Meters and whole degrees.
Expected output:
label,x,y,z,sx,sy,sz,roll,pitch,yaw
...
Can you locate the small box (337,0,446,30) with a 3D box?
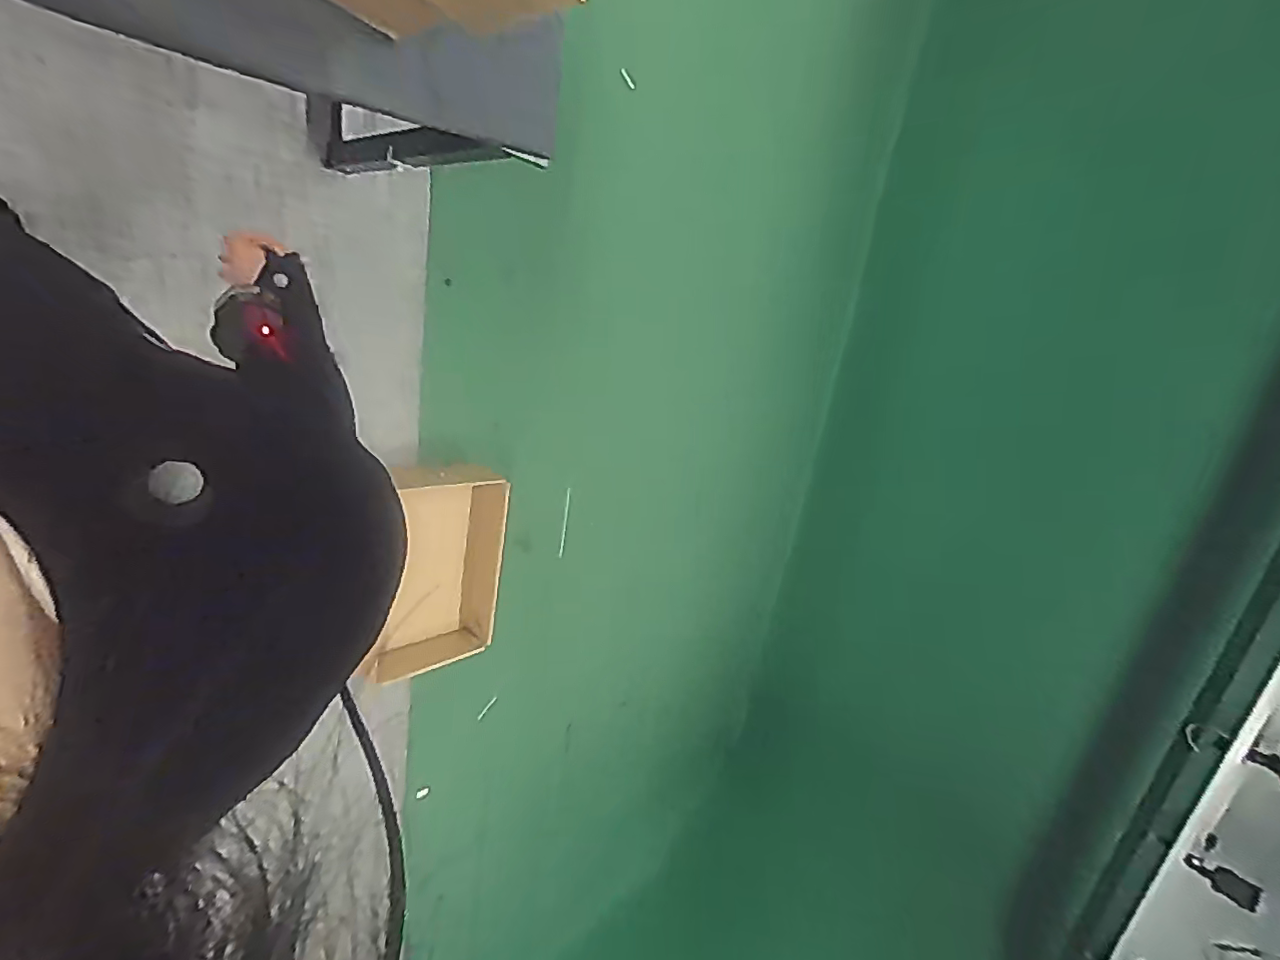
label,x,y,z,sx,sy,sz,roll,pitch,yaw
small box,-0.270,-0.588,0.531,0.179,0.176,0.168,-5,111,-52
